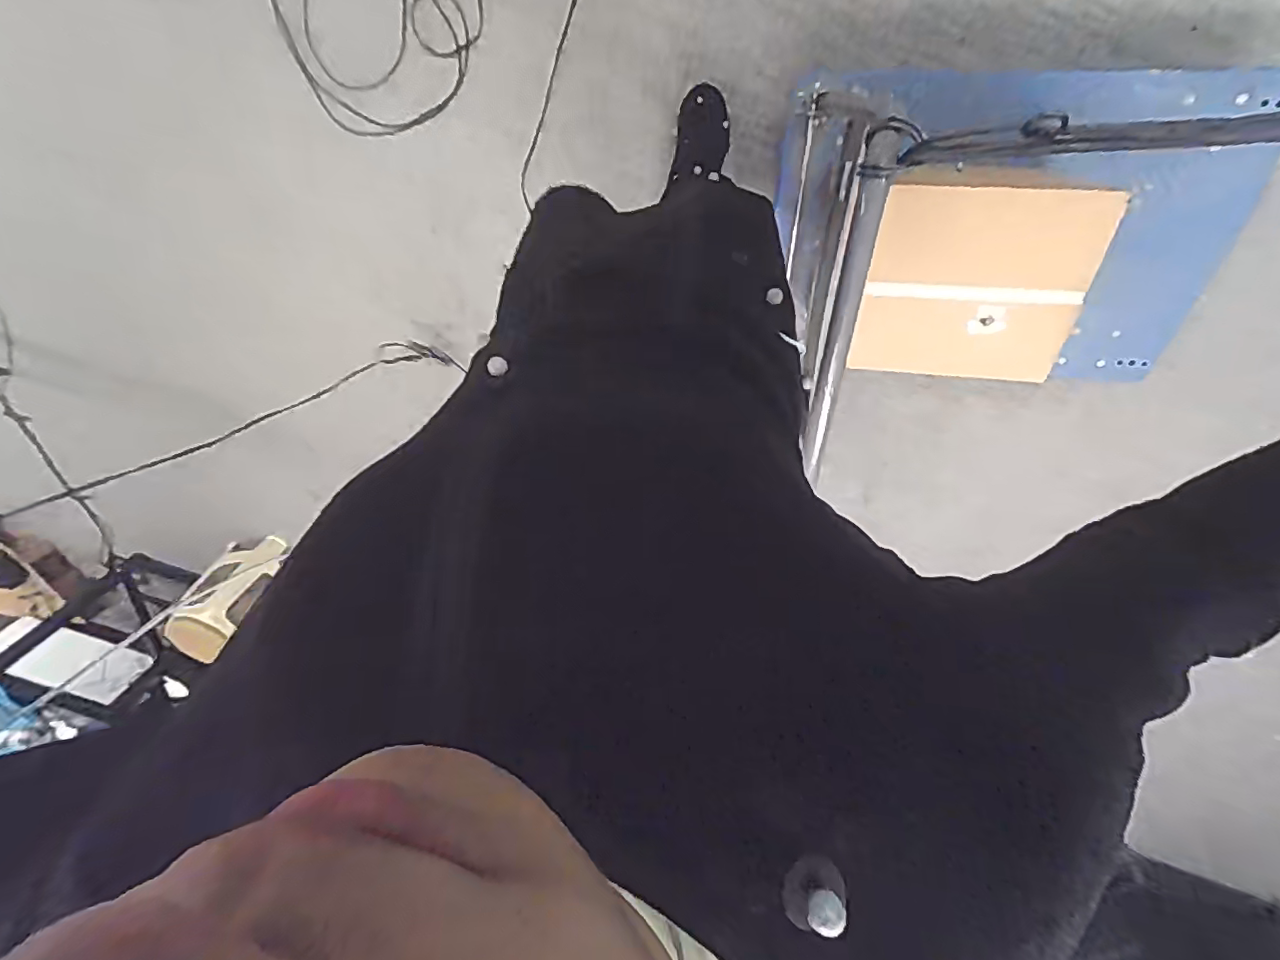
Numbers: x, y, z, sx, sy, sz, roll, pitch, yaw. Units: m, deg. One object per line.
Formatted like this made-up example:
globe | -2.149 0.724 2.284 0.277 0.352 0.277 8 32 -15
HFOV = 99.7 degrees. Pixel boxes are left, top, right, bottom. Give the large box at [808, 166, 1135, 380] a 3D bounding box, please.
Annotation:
large box | 0.561 -0.408 1.031 0.408 0.320 0.320 6 127 7
